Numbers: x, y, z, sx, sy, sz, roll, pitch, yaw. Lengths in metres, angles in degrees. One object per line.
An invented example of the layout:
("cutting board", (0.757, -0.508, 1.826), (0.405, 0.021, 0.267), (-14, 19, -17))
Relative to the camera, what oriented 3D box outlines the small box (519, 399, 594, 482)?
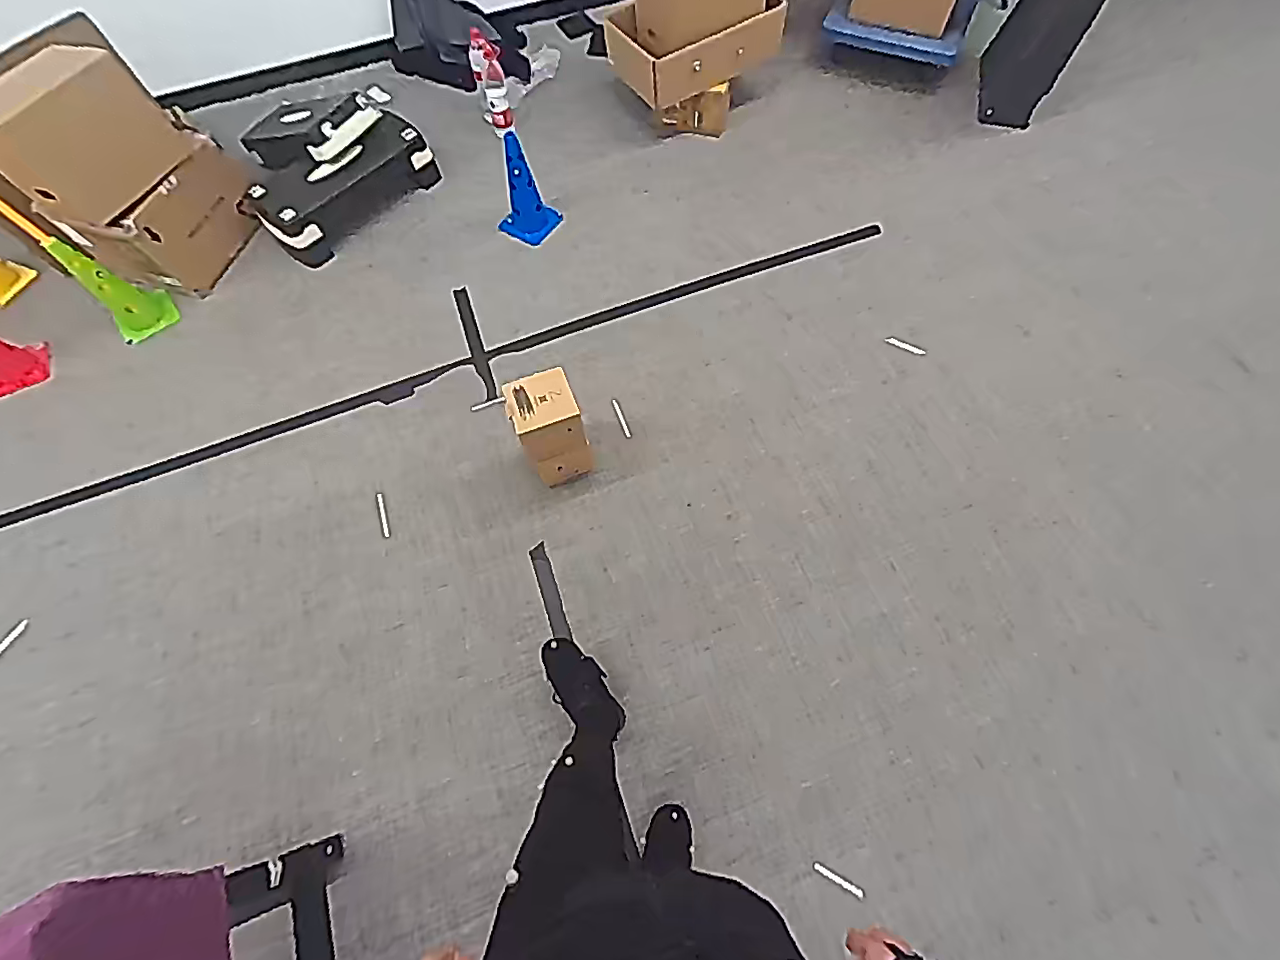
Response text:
("small box", (-0.249, -0.111, 1.652), (0.168, 0.176, 0.179), (-23, 67, -8))
